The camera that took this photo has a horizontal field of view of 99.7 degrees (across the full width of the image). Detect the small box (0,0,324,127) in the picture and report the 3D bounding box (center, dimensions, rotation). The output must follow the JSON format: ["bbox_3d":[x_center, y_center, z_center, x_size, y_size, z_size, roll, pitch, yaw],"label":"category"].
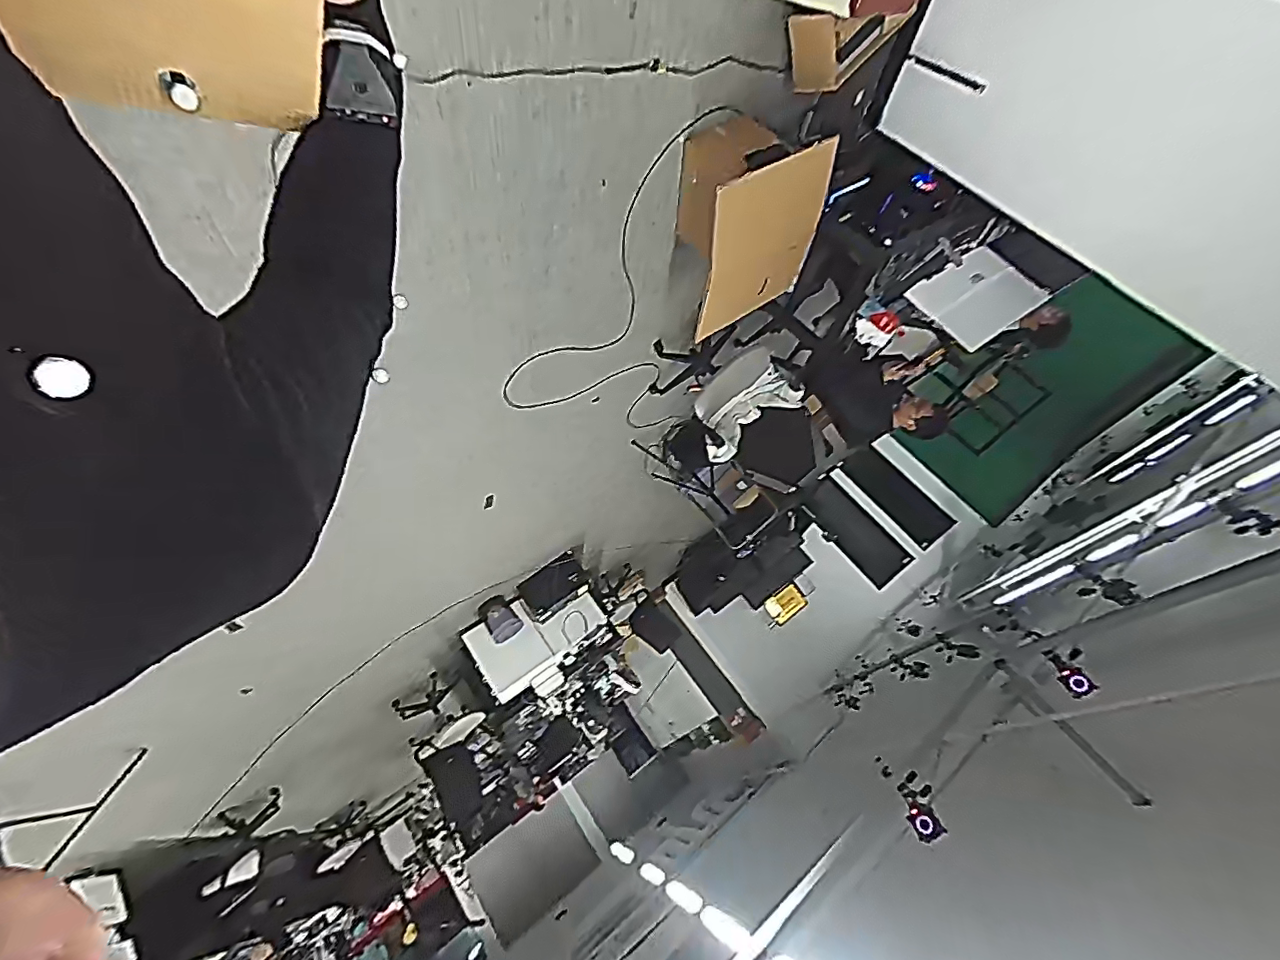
[{"bbox_3d":[-0.323,-0.367,0.351,0.179,0.168,0.176,-12,-175,-32],"label":"small box"}]
